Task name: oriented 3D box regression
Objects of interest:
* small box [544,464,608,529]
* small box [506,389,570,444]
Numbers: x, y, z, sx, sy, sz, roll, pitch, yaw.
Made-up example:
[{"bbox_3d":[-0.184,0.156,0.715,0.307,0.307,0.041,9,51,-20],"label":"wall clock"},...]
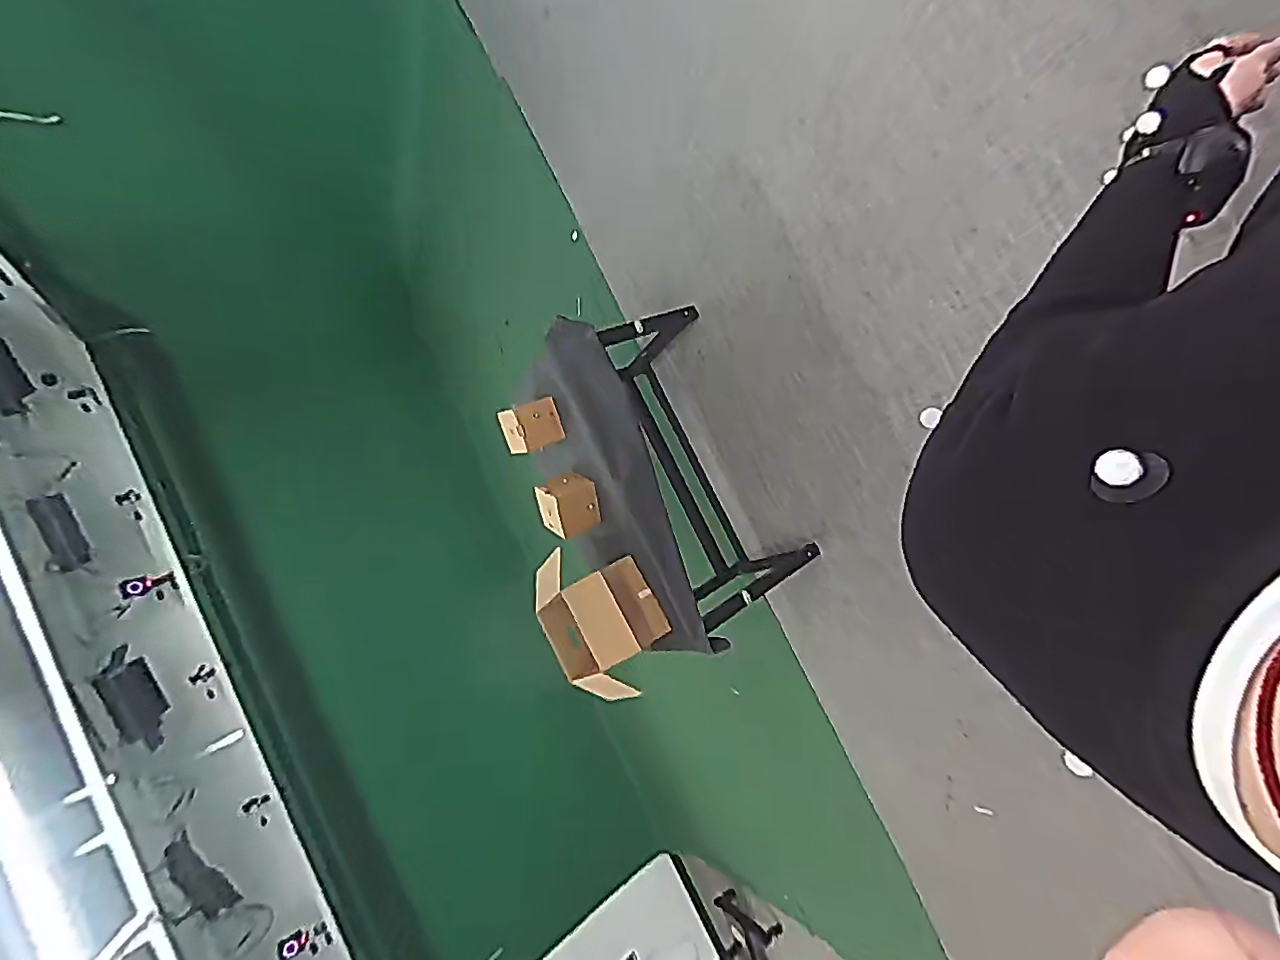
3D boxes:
[{"bbox_3d":[-0.243,0.056,2.062,0.168,0.176,0.179,25,130,48],"label":"small box"},{"bbox_3d":[-0.384,-0.243,2.072,0.179,0.176,0.168,2,111,59],"label":"small box"}]
